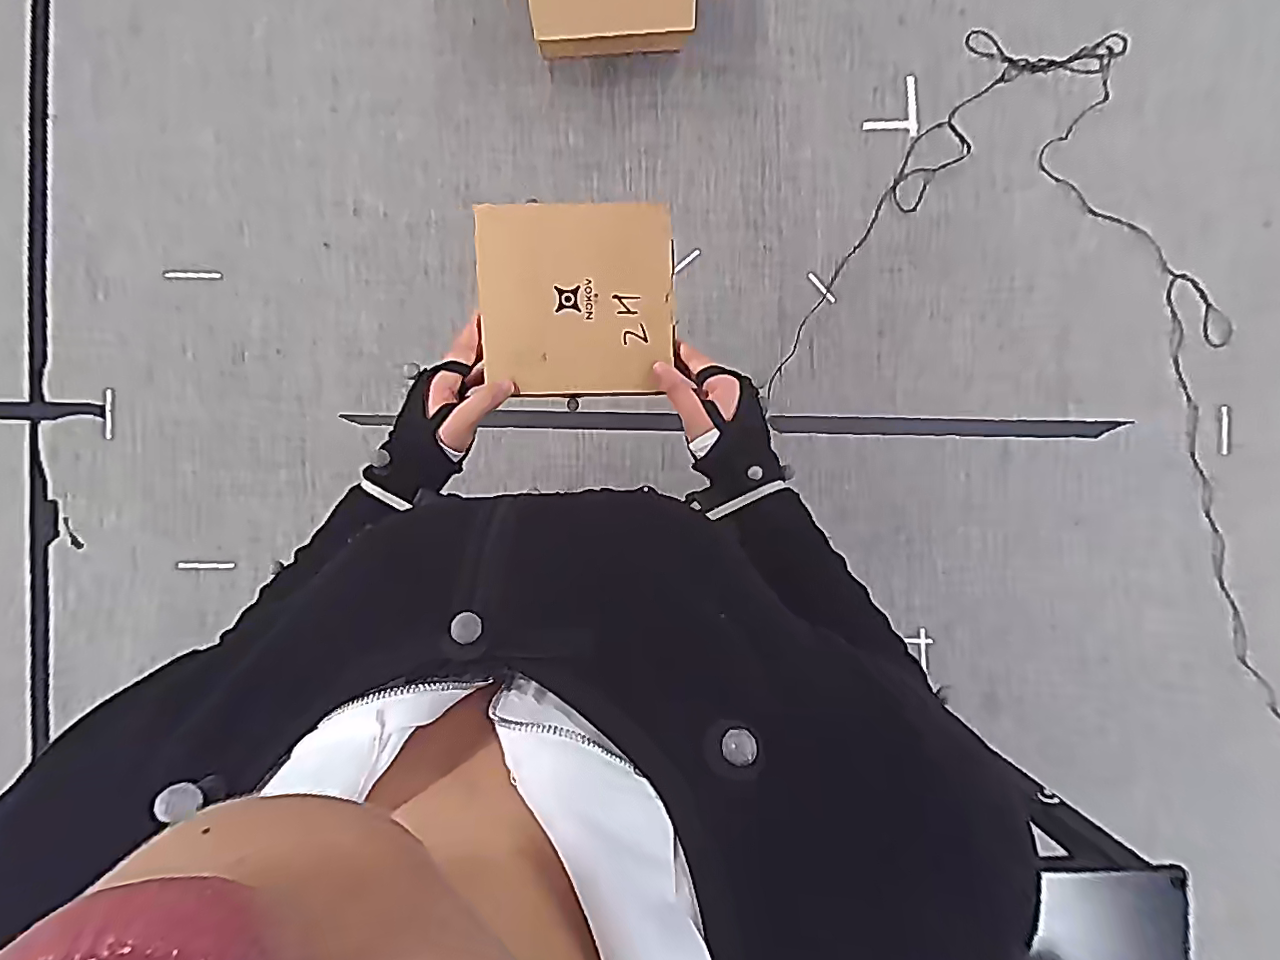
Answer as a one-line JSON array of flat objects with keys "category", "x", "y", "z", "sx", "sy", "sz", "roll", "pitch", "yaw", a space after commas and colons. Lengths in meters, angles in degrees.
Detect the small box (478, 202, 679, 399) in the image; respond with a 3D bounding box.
[{"category": "small box", "x": -0.055, "y": -0.167, "z": 0.553, "sx": 0.179, "sy": 0.176, "sz": 0.168, "roll": -1, "pitch": 99, "yaw": -2}]
